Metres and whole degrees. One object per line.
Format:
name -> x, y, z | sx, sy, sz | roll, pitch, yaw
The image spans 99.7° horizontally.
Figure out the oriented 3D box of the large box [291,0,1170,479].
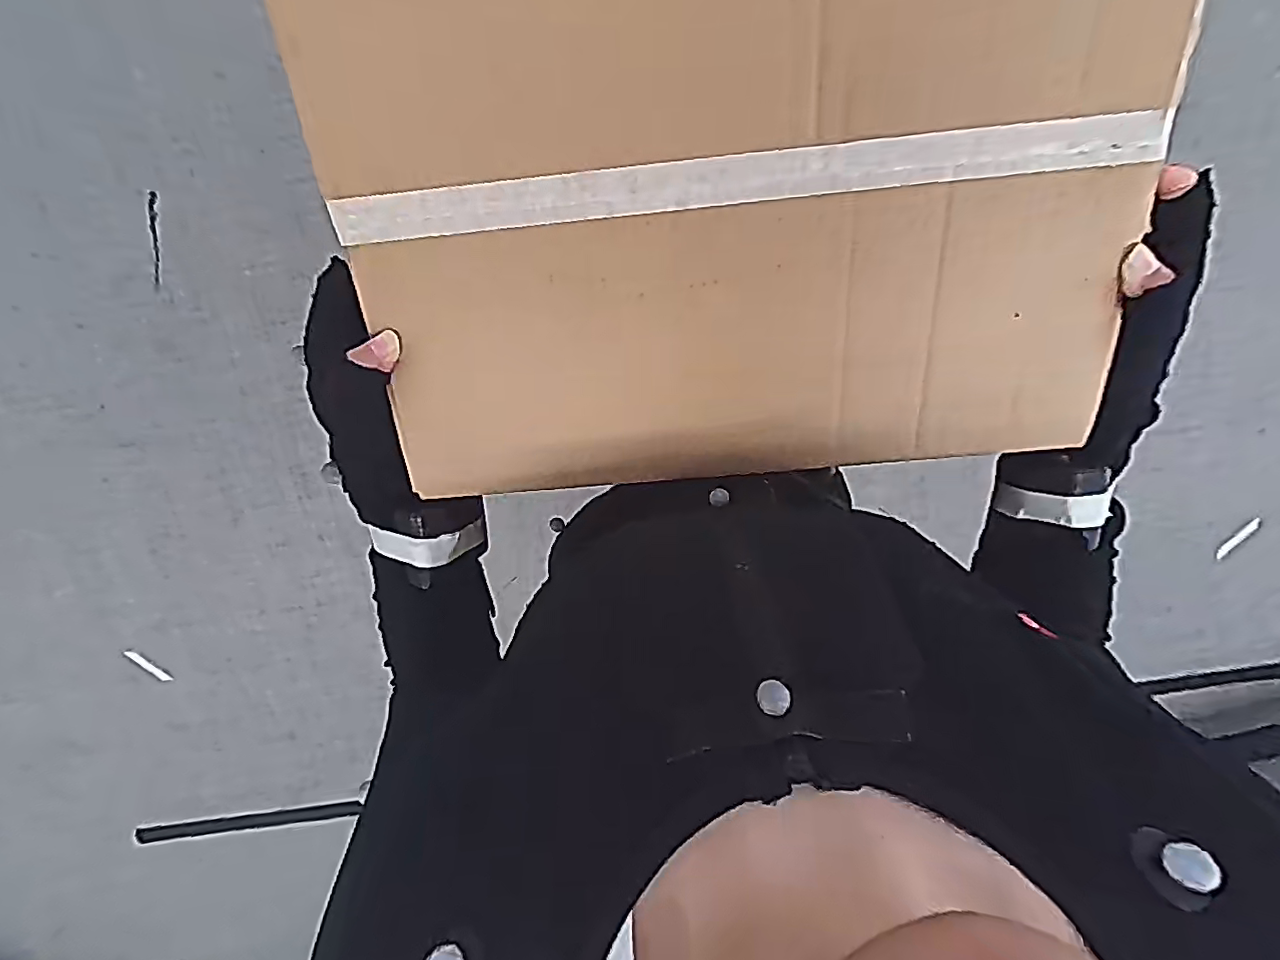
large box -> 0.044, -0.218, 0.410 | 0.408, 0.320, 0.320 | -5, 115, 2
